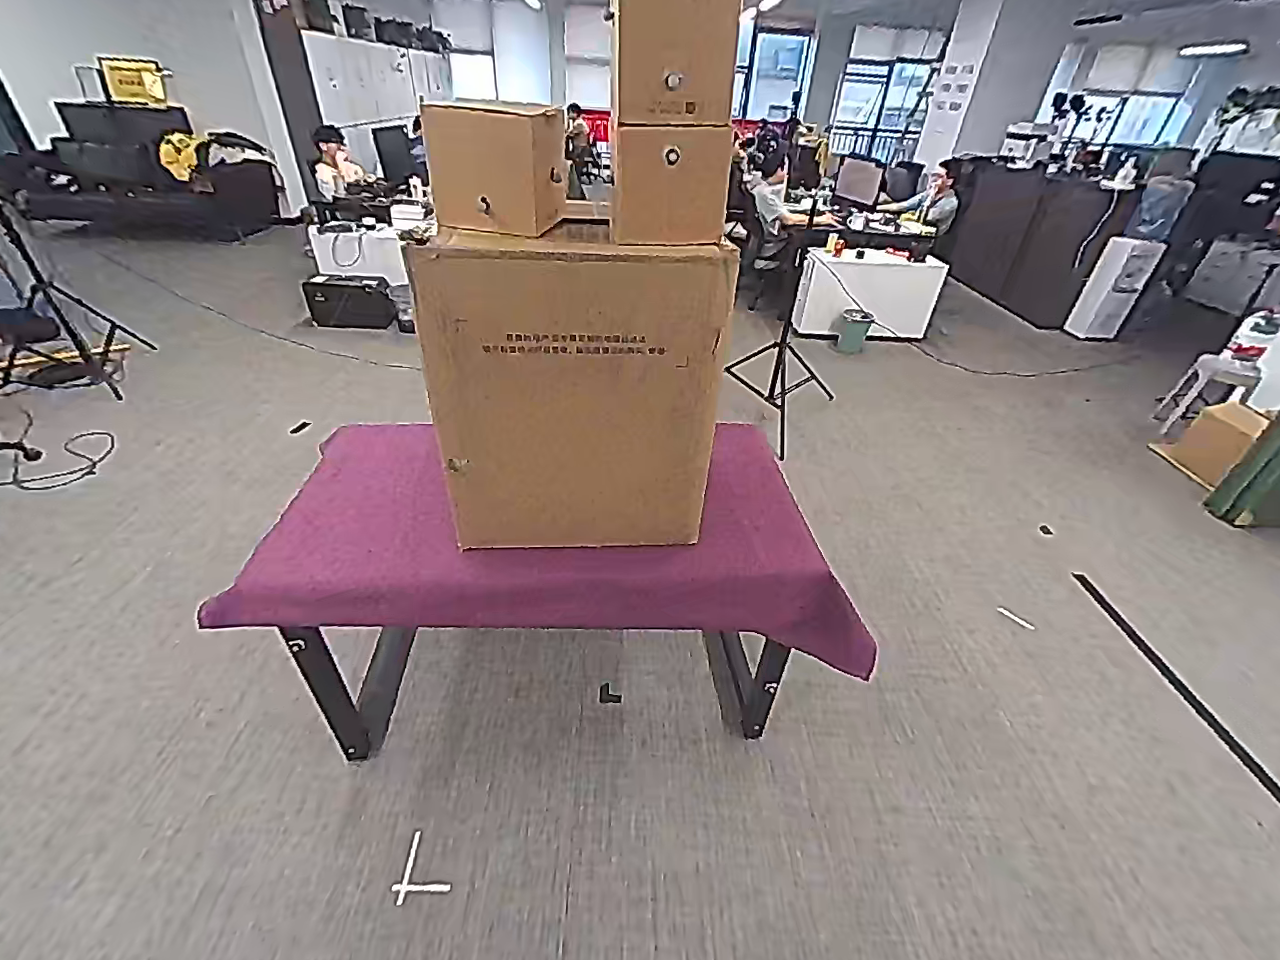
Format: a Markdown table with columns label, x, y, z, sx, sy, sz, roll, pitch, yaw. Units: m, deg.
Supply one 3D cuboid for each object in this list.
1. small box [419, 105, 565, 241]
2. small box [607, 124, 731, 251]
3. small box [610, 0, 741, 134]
| label | x | y | z | sx | sy | sz | roll | pitch | yaw |
| --- | --- | --- | --- | --- | --- | --- | --- | --- | --- |
| small box | -0.230 | -0.504 | 0.891 | 0.179 | 0.176 | 0.168 | 10 | 38 | 6 |
| small box | 0.040 | -0.482 | 0.891 | 0.179 | 0.176 | 0.168 | -2 | 37 | -6 |
| small box | 0.041 | -0.617 | 0.796 | 0.168 | 0.176 | 0.179 | -3 | 37 | -5 |
